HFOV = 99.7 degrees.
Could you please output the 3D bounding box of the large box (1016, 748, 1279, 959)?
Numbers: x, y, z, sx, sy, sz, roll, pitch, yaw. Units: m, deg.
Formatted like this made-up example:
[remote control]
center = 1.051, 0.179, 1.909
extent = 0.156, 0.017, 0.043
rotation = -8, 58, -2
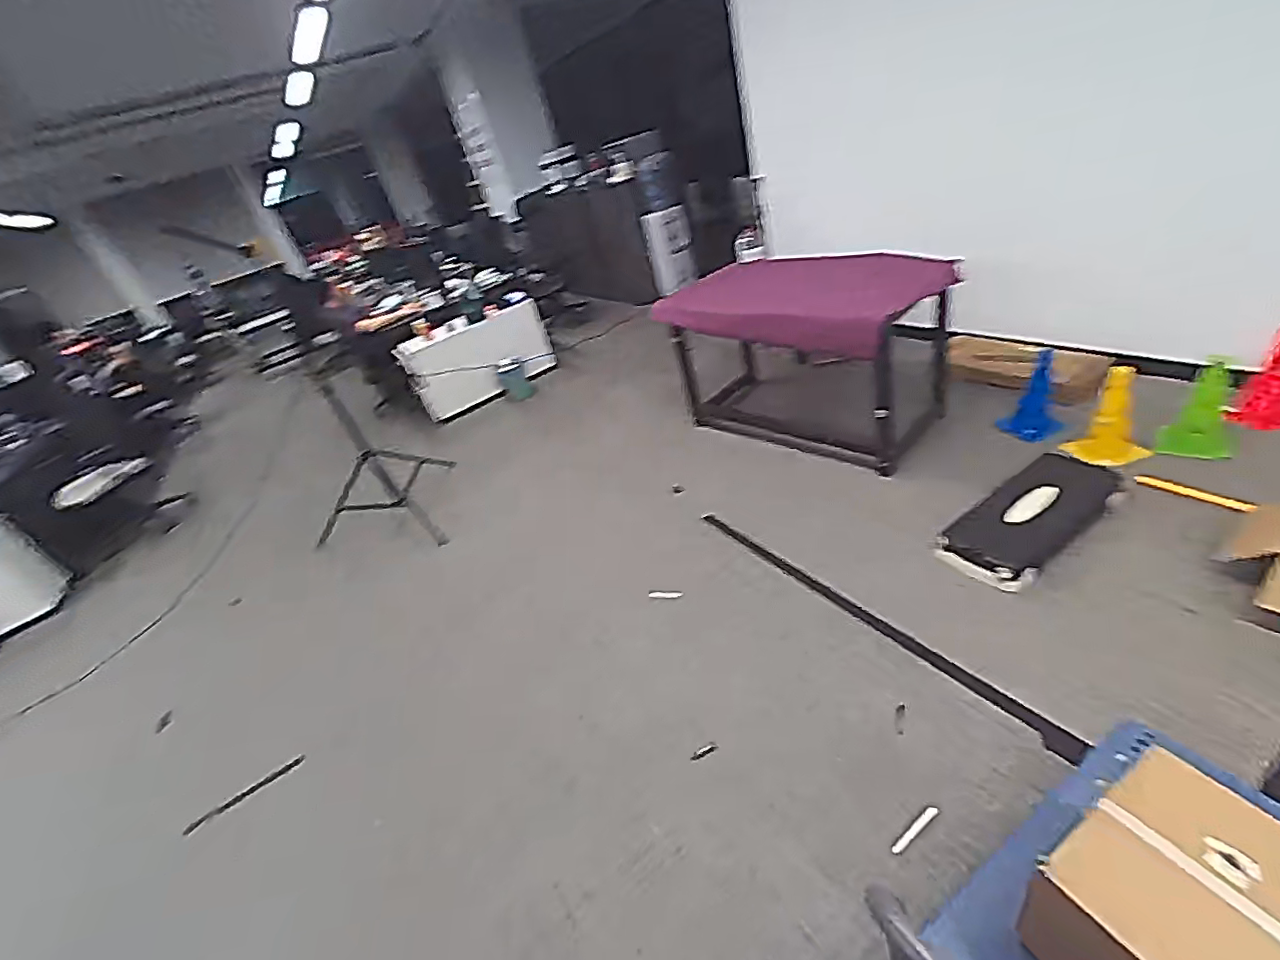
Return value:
[large box]
center = 0.864, 0.714, 0.795
extent = 0.320, 0.320, 0.408
rotation = -28, 33, -17
